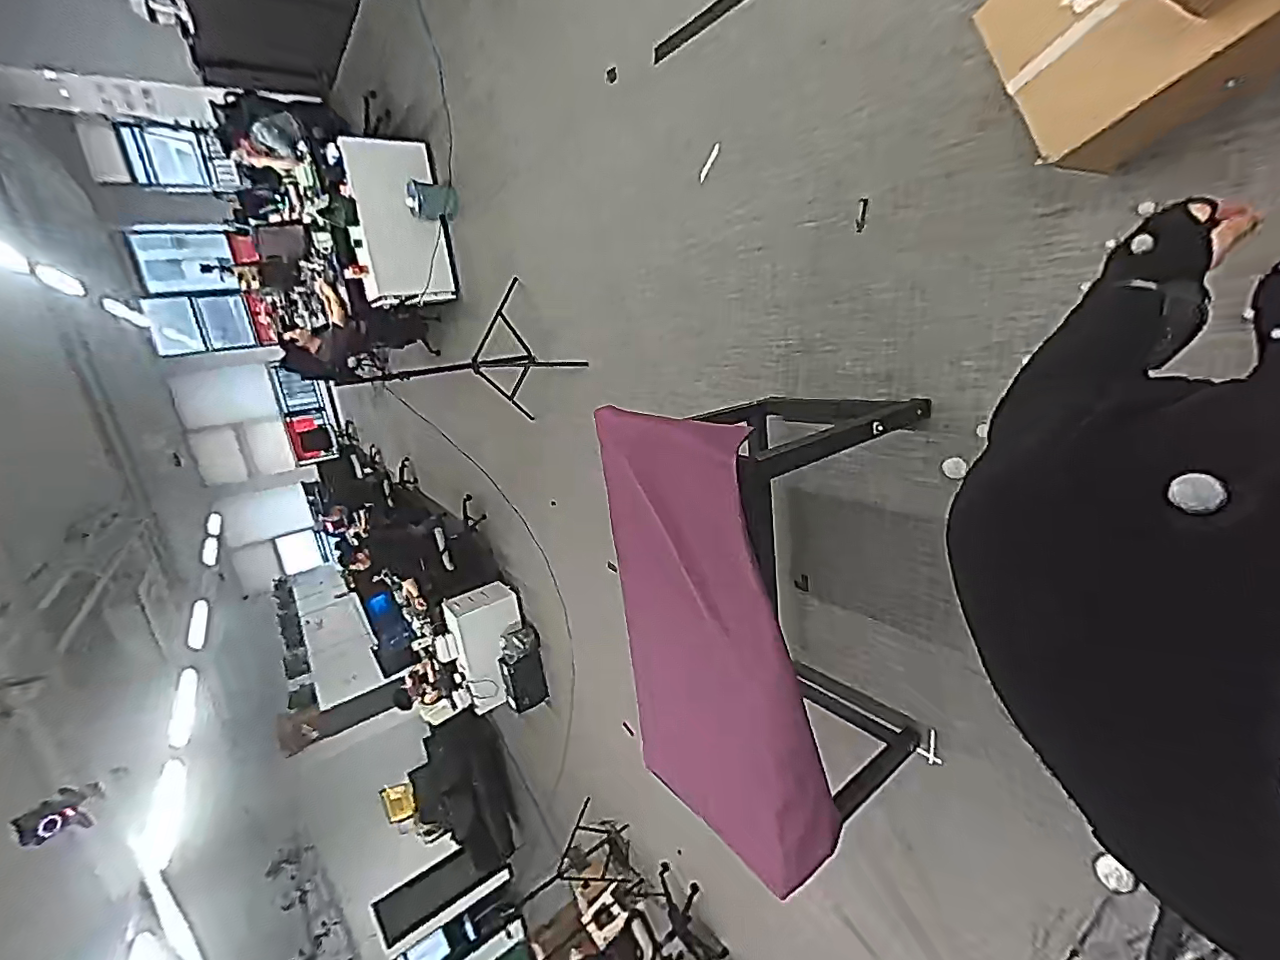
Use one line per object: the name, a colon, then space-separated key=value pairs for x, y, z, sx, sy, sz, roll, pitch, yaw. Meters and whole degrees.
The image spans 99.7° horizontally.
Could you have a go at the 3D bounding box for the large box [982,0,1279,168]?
large box: x=0.870 y=-0.774 z=0.852 sx=0.408 sy=0.320 sz=0.320 roll=-31 pitch=78 yaw=58
